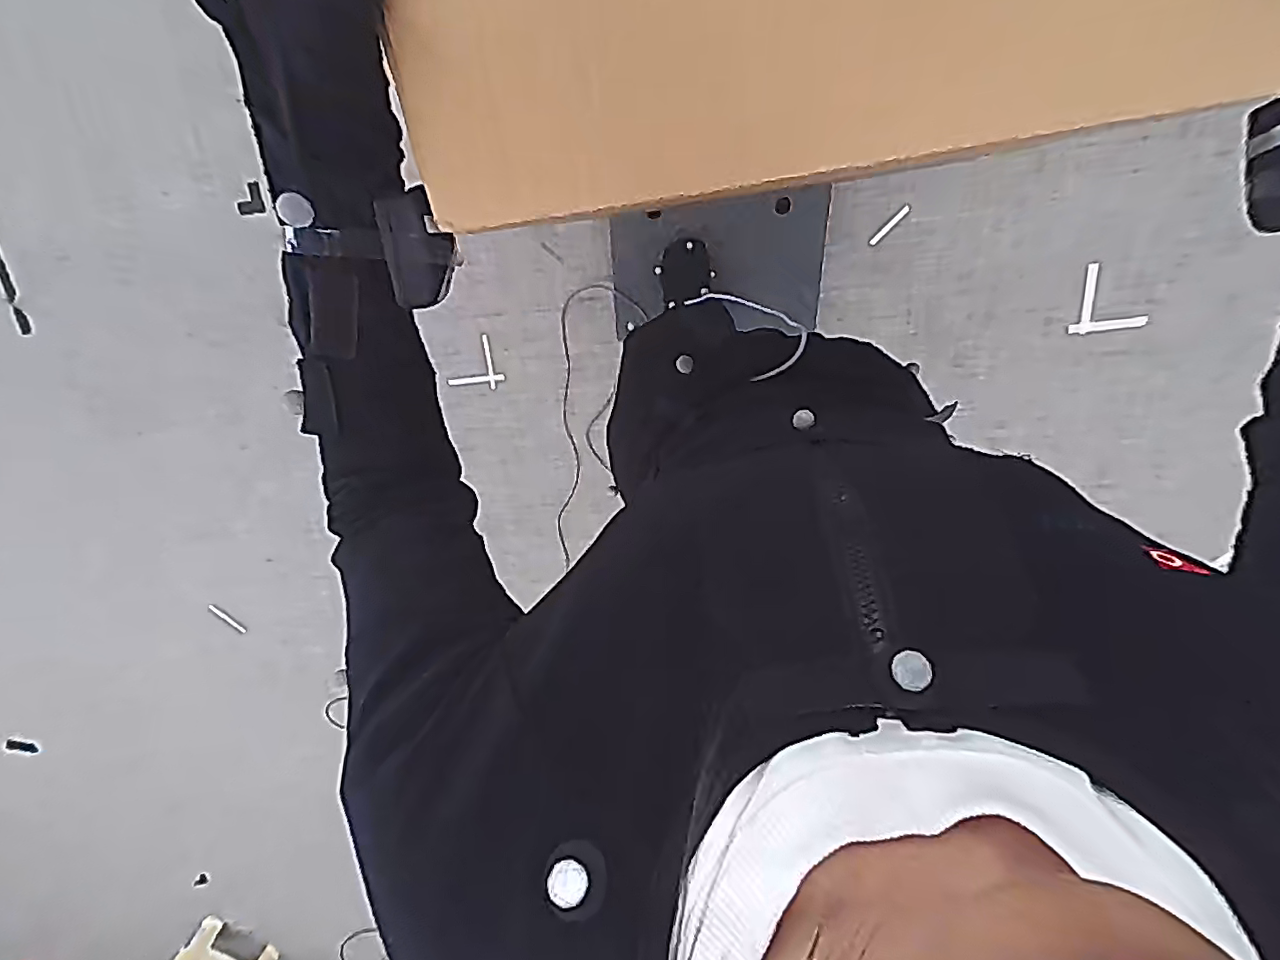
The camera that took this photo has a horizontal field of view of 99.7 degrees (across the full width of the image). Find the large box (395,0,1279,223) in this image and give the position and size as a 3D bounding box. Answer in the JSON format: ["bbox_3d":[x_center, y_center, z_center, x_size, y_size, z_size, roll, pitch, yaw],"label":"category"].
[{"bbox_3d":[0.080,-0.364,0.338,0.408,0.320,0.320,-6,116,8],"label":"large box"}]

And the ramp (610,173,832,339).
[{"bbox_3d":[0.164,-0.792,1.104,0.509,0.206,0.991,-3,111,4],"label":"ramp"}]
